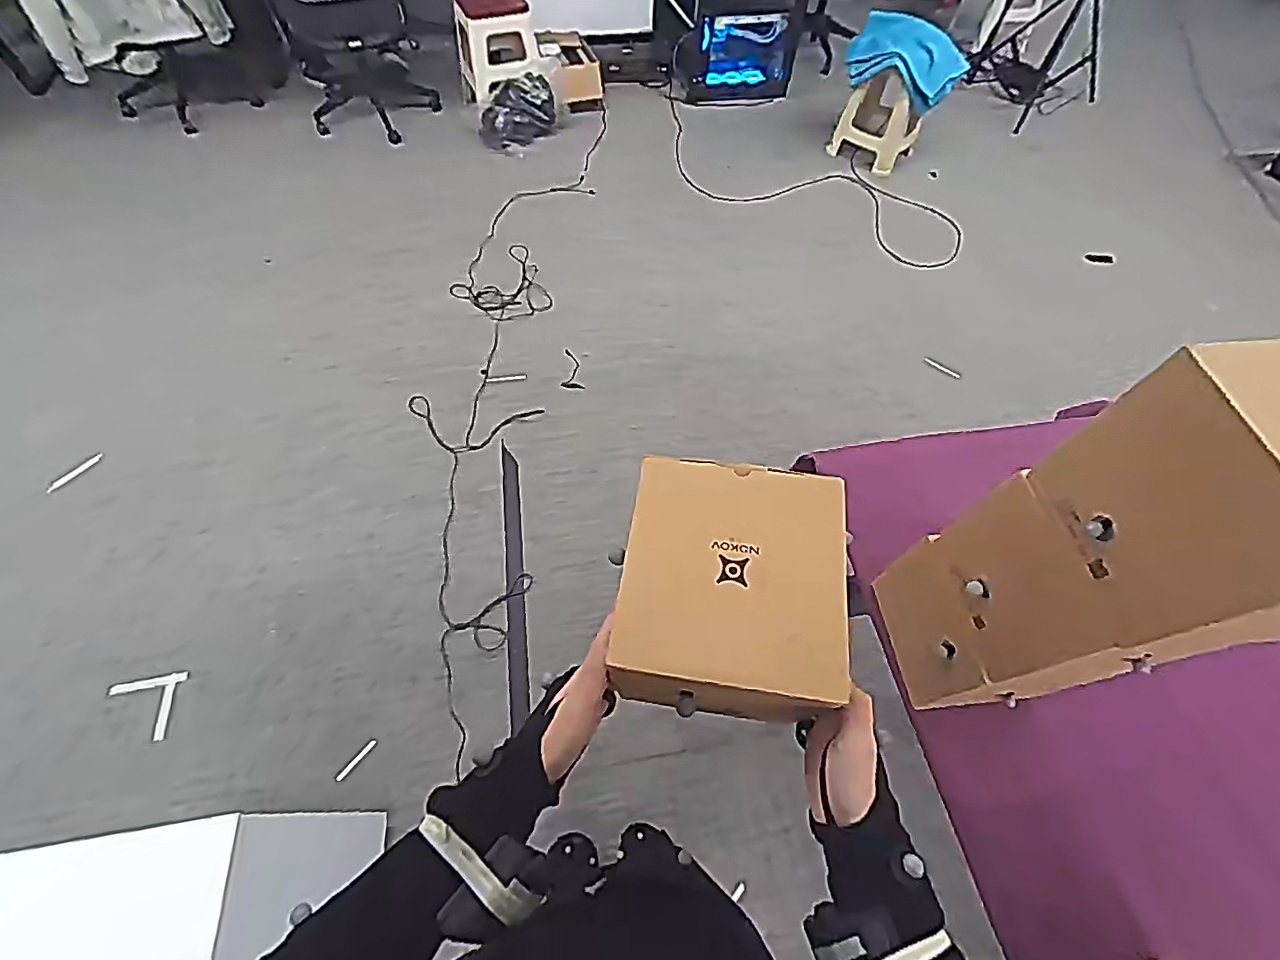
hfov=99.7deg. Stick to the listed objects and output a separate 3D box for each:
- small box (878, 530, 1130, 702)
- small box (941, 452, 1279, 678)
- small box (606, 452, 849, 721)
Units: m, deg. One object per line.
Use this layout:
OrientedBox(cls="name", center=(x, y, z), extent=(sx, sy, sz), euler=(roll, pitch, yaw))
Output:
OrientedBox(cls="small box", center=(0.430, 0.173, 0.676), extent=(0.168, 0.176, 0.179), euler=(-4, 59, -5))
OrientedBox(cls="small box", center=(0.445, 0.090, 0.535), extent=(0.179, 0.176, 0.168), euler=(-5, 60, -4))
OrientedBox(cls="small box", center=(0.073, 0.099, 0.468), extent=(0.168, 0.176, 0.179), euler=(6, 60, 6))
